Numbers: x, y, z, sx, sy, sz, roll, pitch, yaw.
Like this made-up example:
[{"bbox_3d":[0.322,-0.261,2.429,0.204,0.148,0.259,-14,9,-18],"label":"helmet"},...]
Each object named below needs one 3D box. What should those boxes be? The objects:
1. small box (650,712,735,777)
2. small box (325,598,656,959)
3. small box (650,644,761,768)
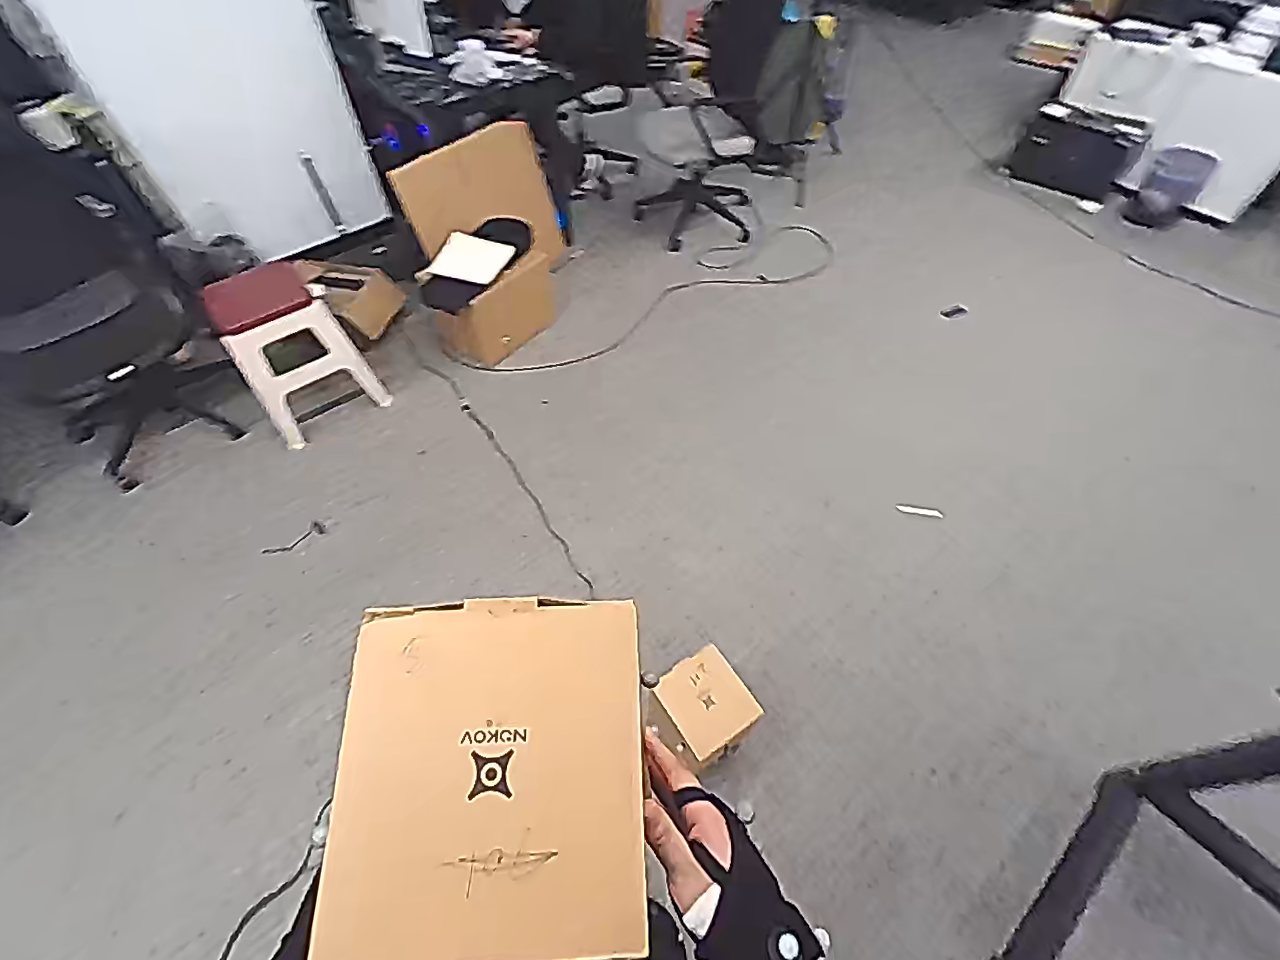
[{"bbox_3d":[0.131,0.584,1.306,0.179,0.176,0.168,-26,57,-17],"label":"small box"},{"bbox_3d":[-0.078,0.184,0.372,0.168,0.176,0.179,-1,69,-2],"label":"small box"},{"bbox_3d":[0.132,0.494,1.168,0.168,0.176,0.179,-28,57,-21],"label":"small box"}]
